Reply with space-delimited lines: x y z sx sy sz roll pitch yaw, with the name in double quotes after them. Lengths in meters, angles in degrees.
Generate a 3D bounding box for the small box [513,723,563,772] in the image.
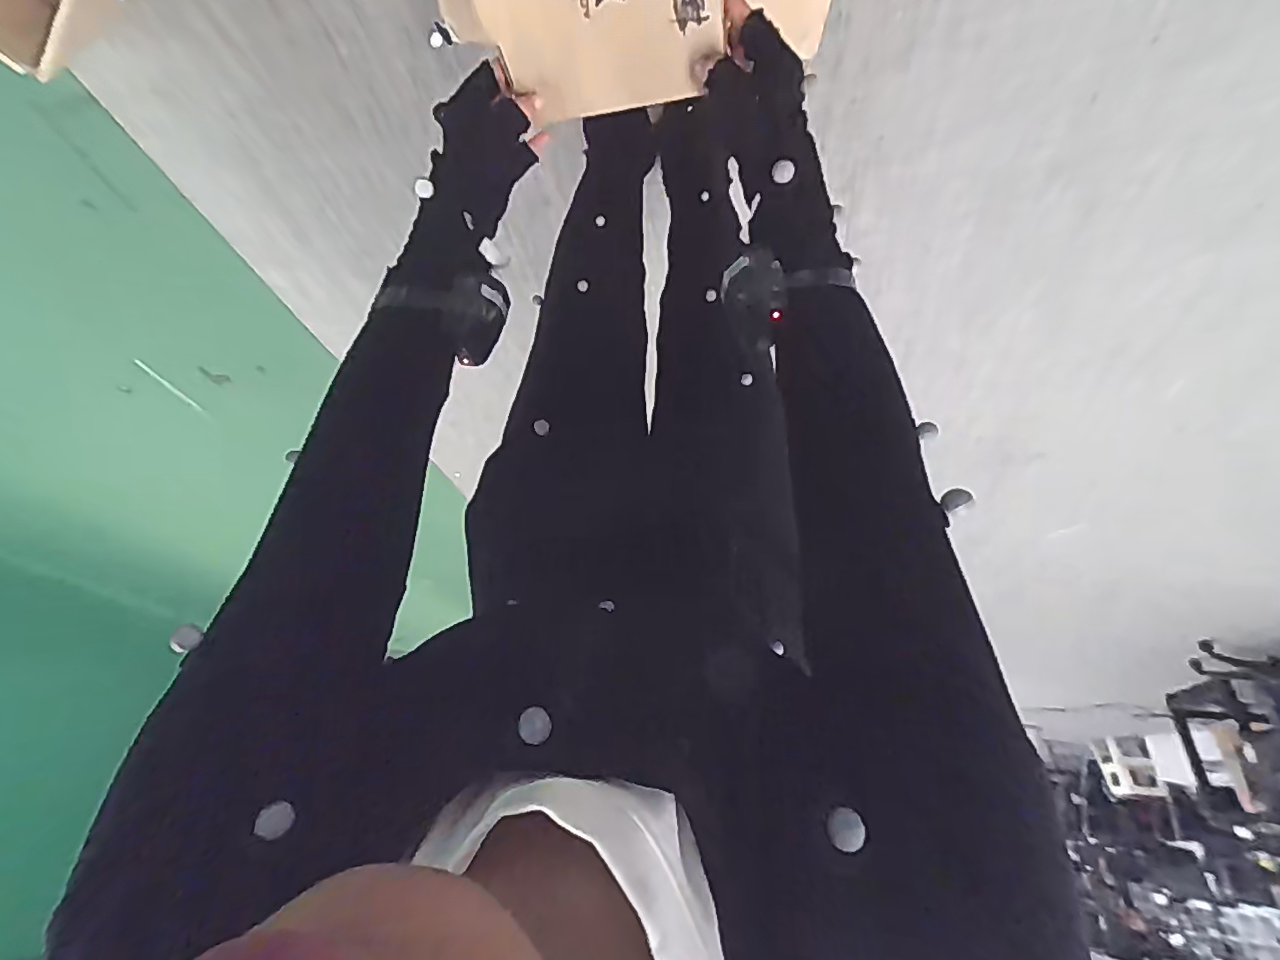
-0.430 1.139 2.304 0.168 0.176 0.179 6 150 3 "small box"

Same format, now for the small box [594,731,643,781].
-0.087 1.149 2.252 0.168 0.176 0.179 -1 149 13 "small box"

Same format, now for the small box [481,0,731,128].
-0.022 -0.416 0.425 0.179 0.176 0.168 0 149 14 "small box"
